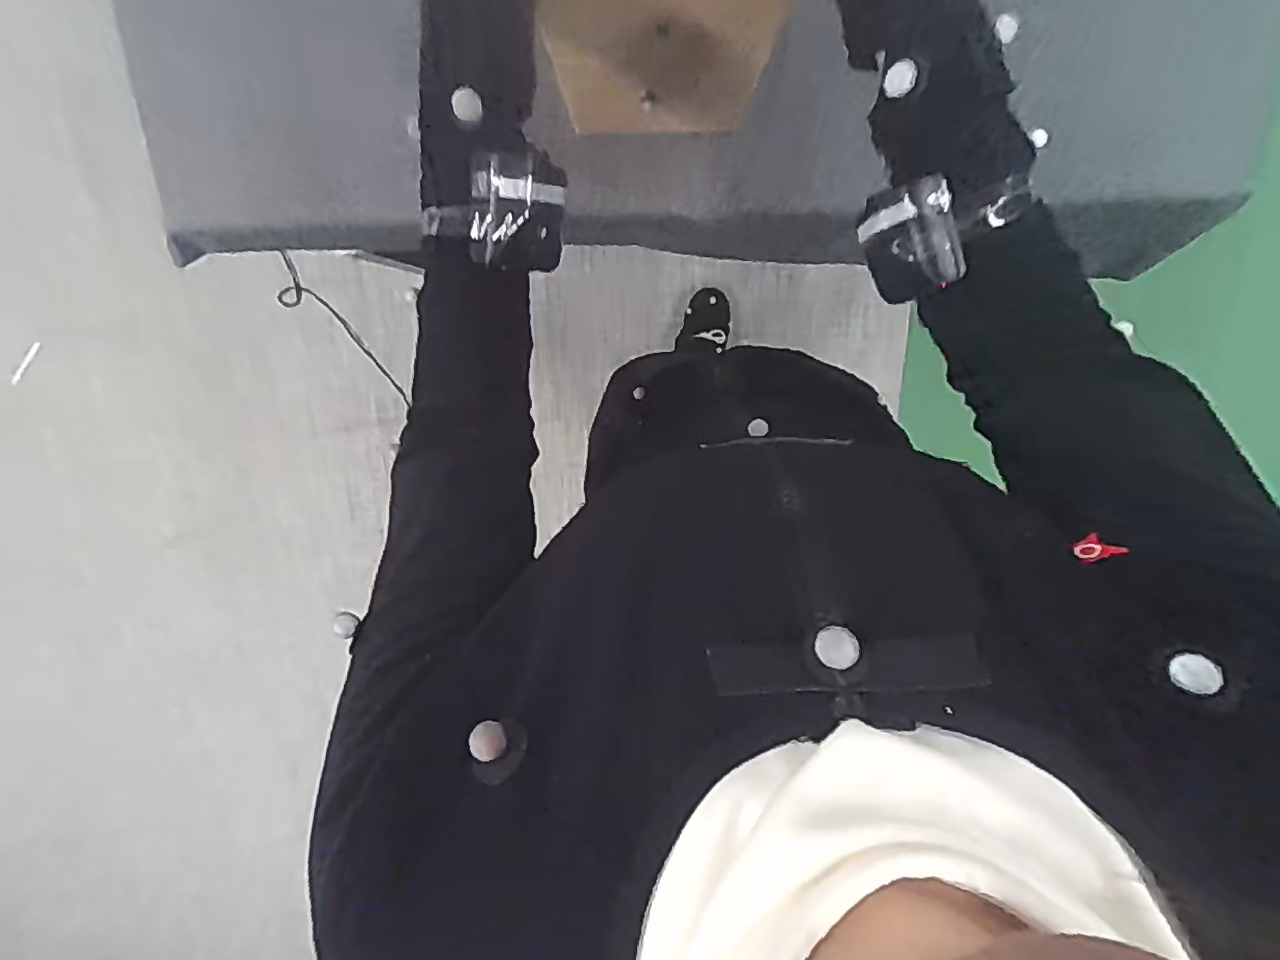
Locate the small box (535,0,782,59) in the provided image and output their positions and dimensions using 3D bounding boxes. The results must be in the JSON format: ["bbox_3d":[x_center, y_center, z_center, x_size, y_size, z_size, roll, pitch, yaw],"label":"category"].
[{"bbox_3d":[0.015,-0.395,0.334,0.179,0.176,0.168,0,104,1],"label":"small box"}]

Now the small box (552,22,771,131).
[{"bbox_3d":[0.019,-0.440,0.489,0.179,0.176,0.168,2,103,0],"label":"small box"}]
